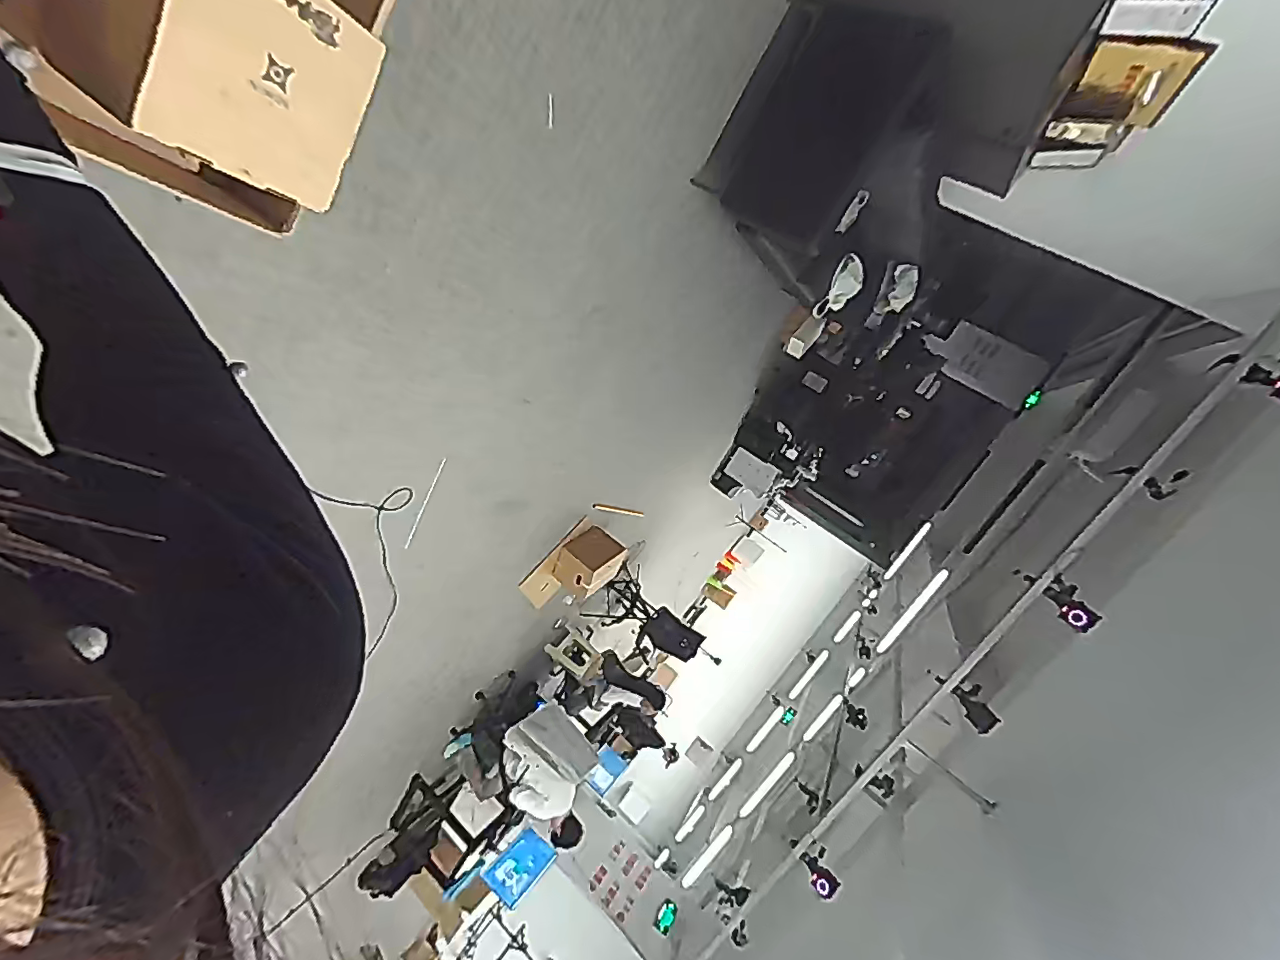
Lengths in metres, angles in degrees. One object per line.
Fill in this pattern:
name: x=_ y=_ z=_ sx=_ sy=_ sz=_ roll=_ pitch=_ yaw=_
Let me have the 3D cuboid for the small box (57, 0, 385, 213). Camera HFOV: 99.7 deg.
small box: x=-0.387 y=-0.397 z=0.504 sx=0.179 sy=0.176 sz=0.168 roll=-57 pitch=162 yaw=15
